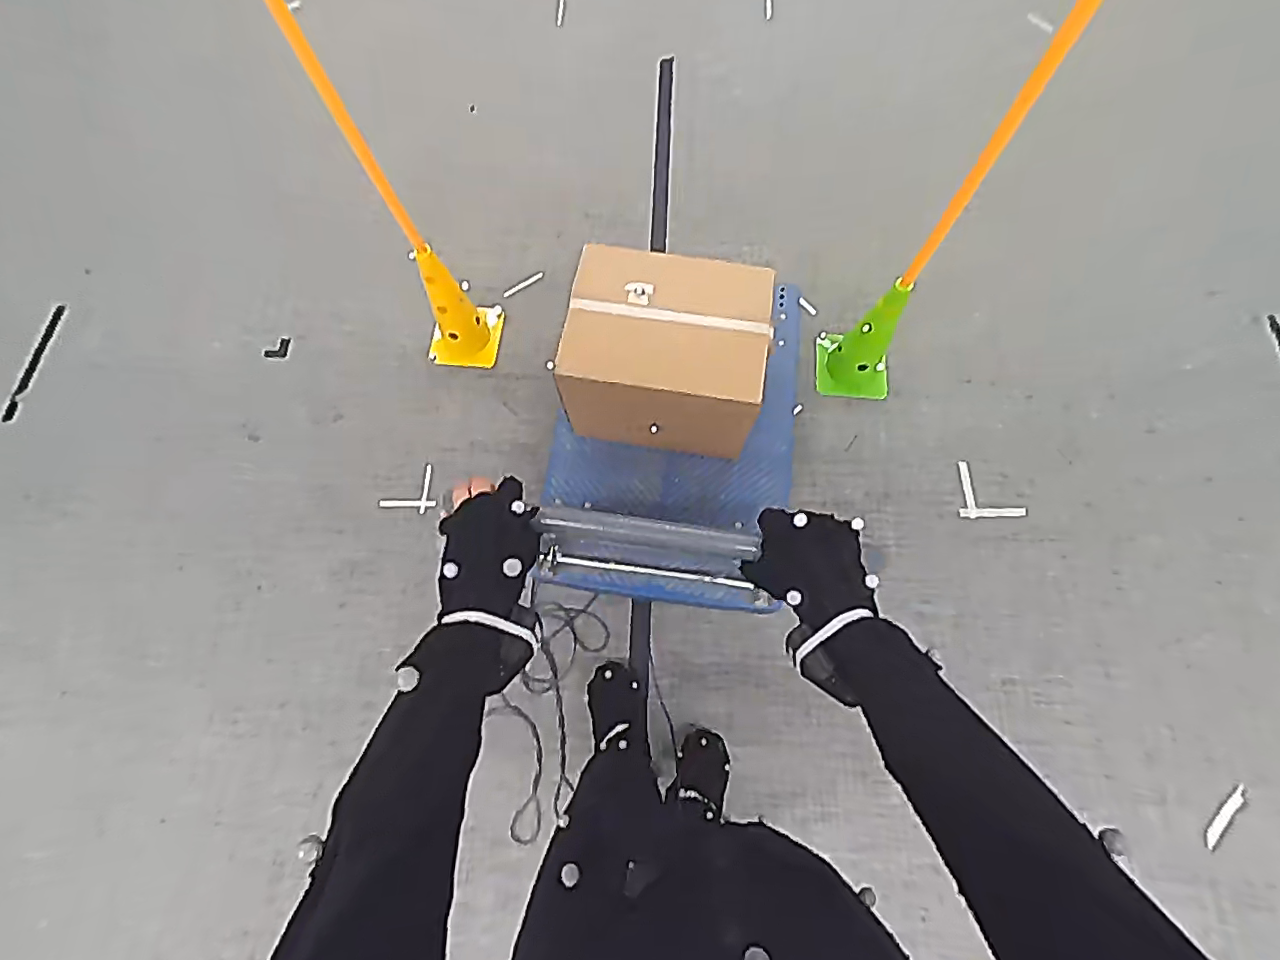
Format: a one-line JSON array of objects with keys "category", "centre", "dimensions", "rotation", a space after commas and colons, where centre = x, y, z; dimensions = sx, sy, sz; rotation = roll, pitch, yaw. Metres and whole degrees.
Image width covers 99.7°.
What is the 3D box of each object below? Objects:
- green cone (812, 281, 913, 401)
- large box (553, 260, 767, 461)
[{"category": "green cone", "centre": [0.604, -0.382, 1.415], "dimensions": [0.202, 0.368, 0.200], "rotation": [5, 71, 2]}, {"category": "large box", "centre": [0.053, -0.254, 1.231], "dimensions": [0.408, 0.320, 0.320], "rotation": [9, 72, 5]}]
